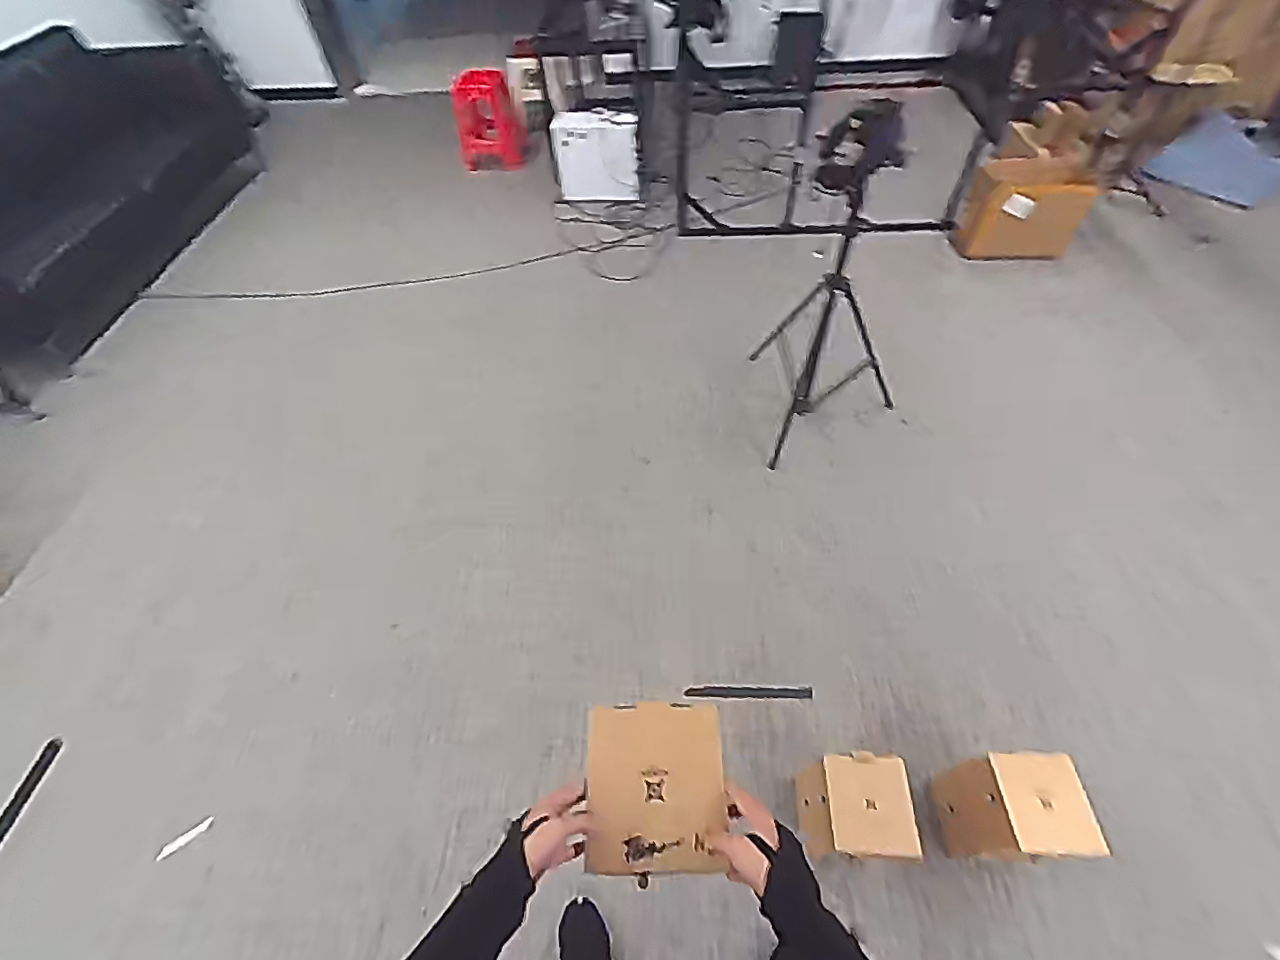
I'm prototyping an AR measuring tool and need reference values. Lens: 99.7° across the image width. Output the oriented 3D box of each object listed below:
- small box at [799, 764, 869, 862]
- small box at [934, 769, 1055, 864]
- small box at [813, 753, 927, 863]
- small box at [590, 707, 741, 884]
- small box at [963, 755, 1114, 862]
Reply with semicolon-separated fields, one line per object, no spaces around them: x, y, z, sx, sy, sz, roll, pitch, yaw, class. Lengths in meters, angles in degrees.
0.480;0.788;1.278;0.168;0.176;0.179;2;54;5;small box
0.820;0.787;1.260;0.168;0.176;0.179;-1;52;2;small box
0.473;0.695;1.143;0.168;0.176;0.179;1;53;5;small box
0.031;0.404;0.690;0.168;0.176;0.179;-3;53;3;small box
0.816;0.689;1.131;0.168;0.176;0.179;-1;52;3;small box
